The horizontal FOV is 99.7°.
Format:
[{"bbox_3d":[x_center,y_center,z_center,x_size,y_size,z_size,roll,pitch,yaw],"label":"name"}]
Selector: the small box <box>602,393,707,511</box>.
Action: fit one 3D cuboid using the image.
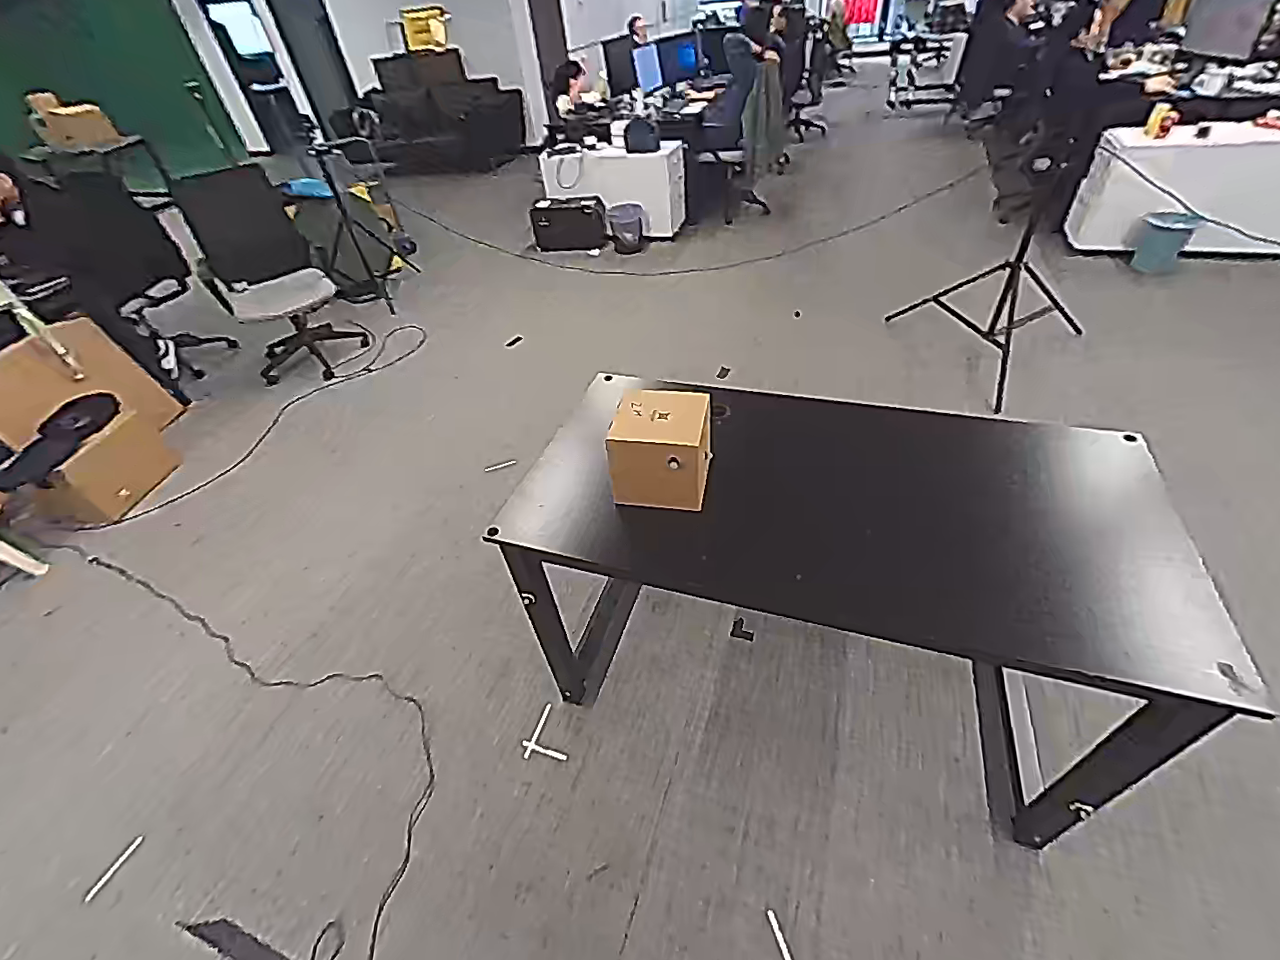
[{"bbox_3d":[0.038,-0.055,1.081,0.179,0.176,0.168,4,43,13],"label":"small box"}]
